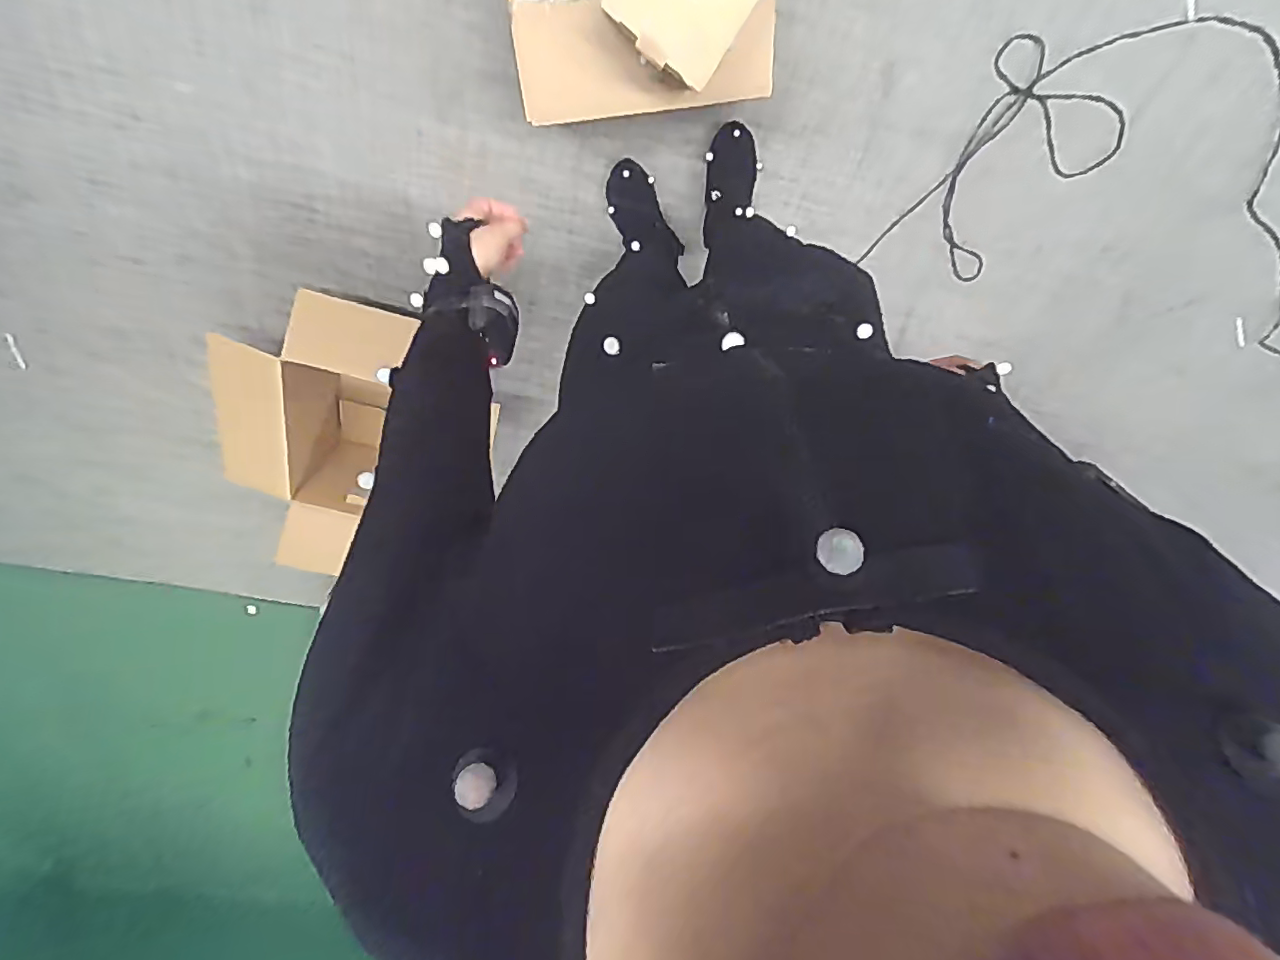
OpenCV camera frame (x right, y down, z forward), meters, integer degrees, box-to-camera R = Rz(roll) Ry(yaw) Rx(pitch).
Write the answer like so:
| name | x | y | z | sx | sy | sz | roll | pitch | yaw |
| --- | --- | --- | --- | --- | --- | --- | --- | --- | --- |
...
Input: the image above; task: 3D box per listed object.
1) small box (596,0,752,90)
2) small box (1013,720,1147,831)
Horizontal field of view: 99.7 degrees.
| name | x | y | z | sx | sy | sz | roll | pitch | yaw |
| --- | --- | --- | --- | --- | --- | --- | --- | --- | --- |
| small box | 0.060 | -0.675 | 0.735 | 0.168 | 0.176 | 0.179 | 29 | 123 | -21 |
| small box | 0.954 | 0.661 | 1.189 | 0.179 | 0.176 | 0.168 | -23 | 124 | 15 |
